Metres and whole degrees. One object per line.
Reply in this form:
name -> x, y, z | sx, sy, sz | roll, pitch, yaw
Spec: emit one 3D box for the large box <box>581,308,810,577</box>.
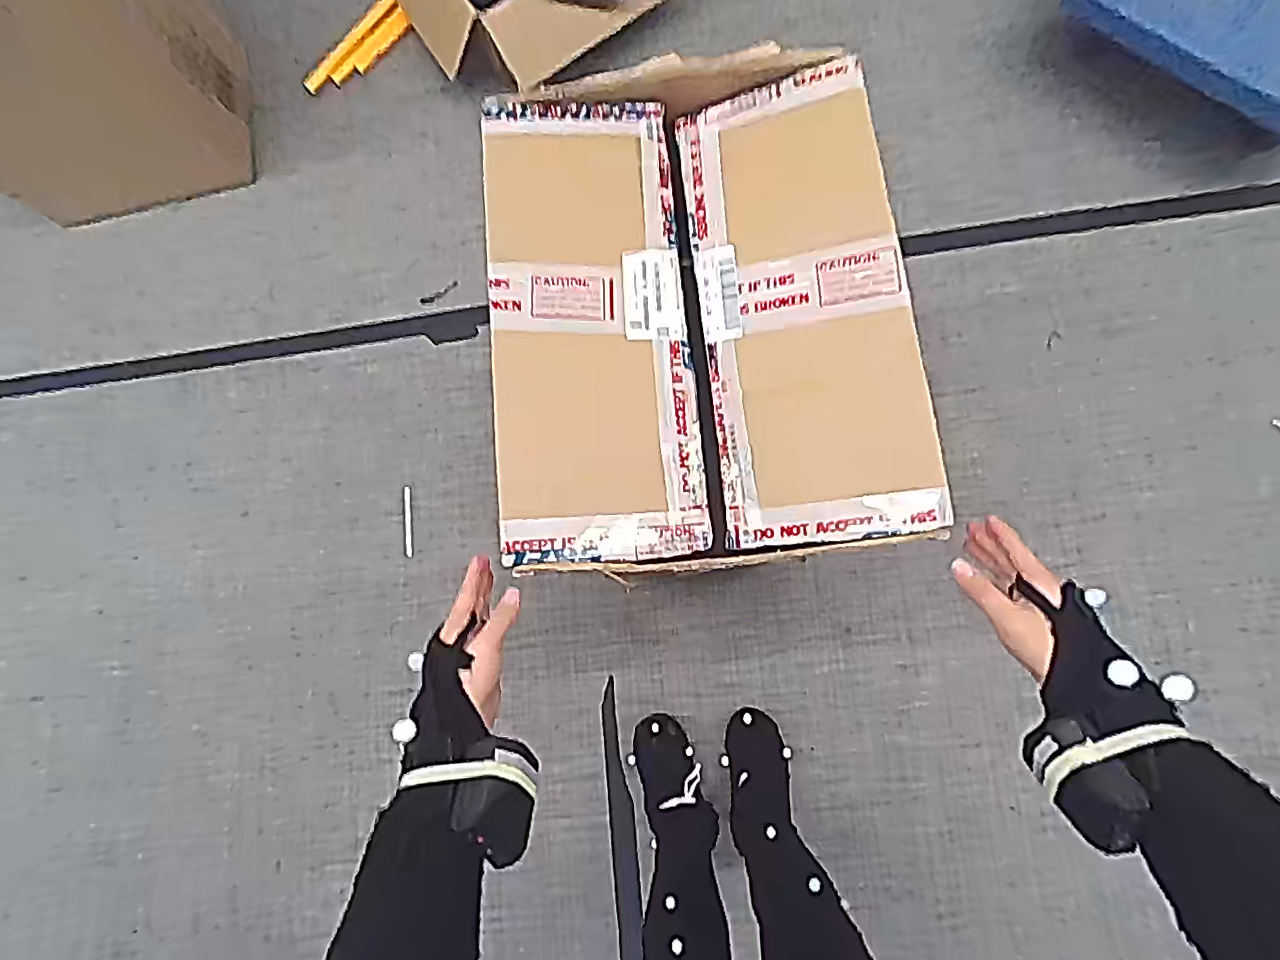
large box -> 0.089, -0.045, 0.999 | 0.320, 0.320, 0.408 | -8, 82, 4
